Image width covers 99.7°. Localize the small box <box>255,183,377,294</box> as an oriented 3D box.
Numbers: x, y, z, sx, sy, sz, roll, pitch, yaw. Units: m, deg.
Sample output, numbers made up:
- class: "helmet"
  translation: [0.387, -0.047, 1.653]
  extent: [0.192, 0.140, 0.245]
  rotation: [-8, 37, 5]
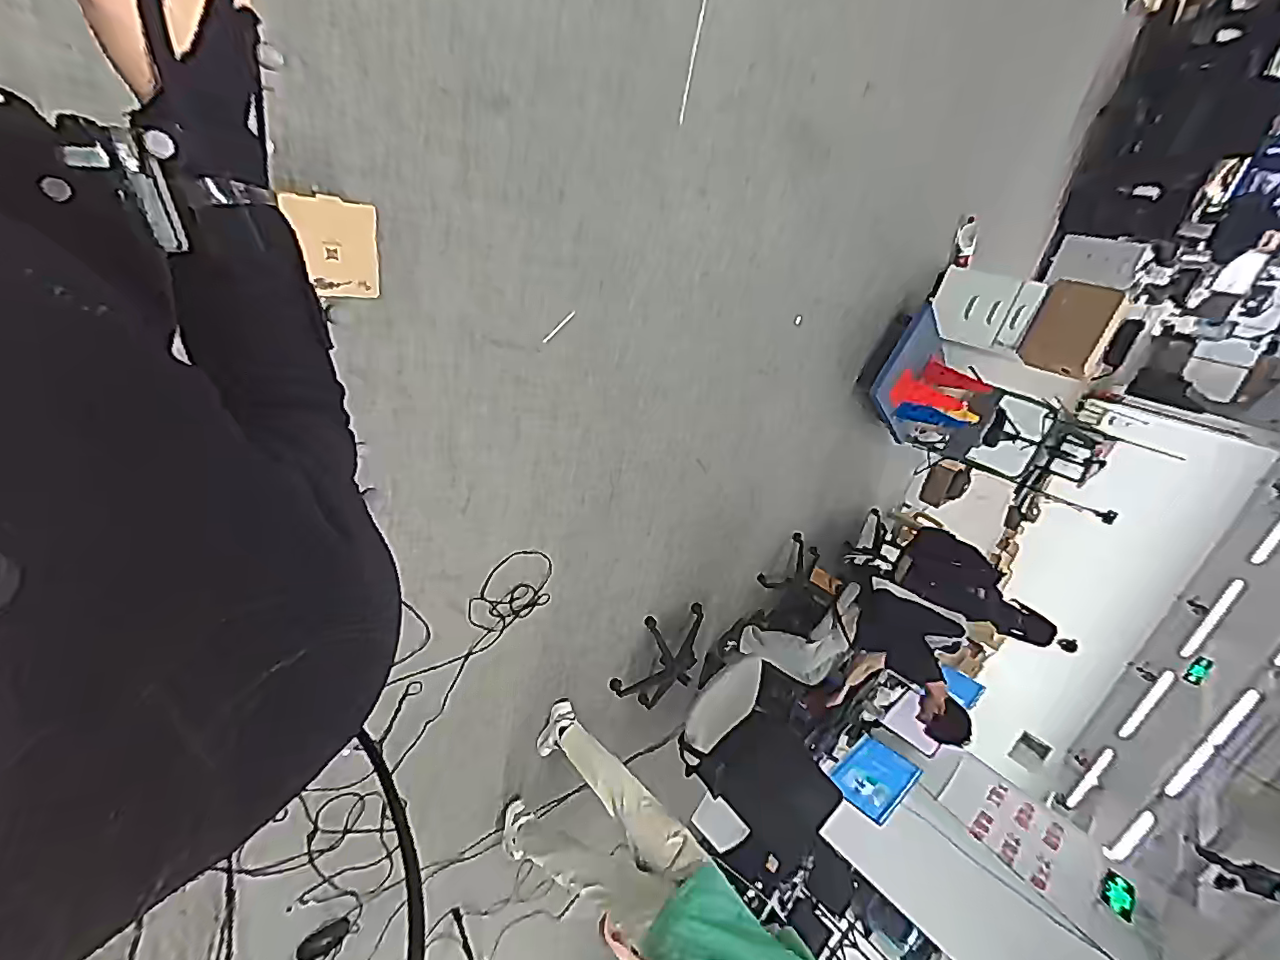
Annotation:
- class: "small box"
  translation: [-0.638, -0.476, 1.068]
  extent: [0.168, 0.176, 0.179]
  rotation: [-14, 124, -41]
